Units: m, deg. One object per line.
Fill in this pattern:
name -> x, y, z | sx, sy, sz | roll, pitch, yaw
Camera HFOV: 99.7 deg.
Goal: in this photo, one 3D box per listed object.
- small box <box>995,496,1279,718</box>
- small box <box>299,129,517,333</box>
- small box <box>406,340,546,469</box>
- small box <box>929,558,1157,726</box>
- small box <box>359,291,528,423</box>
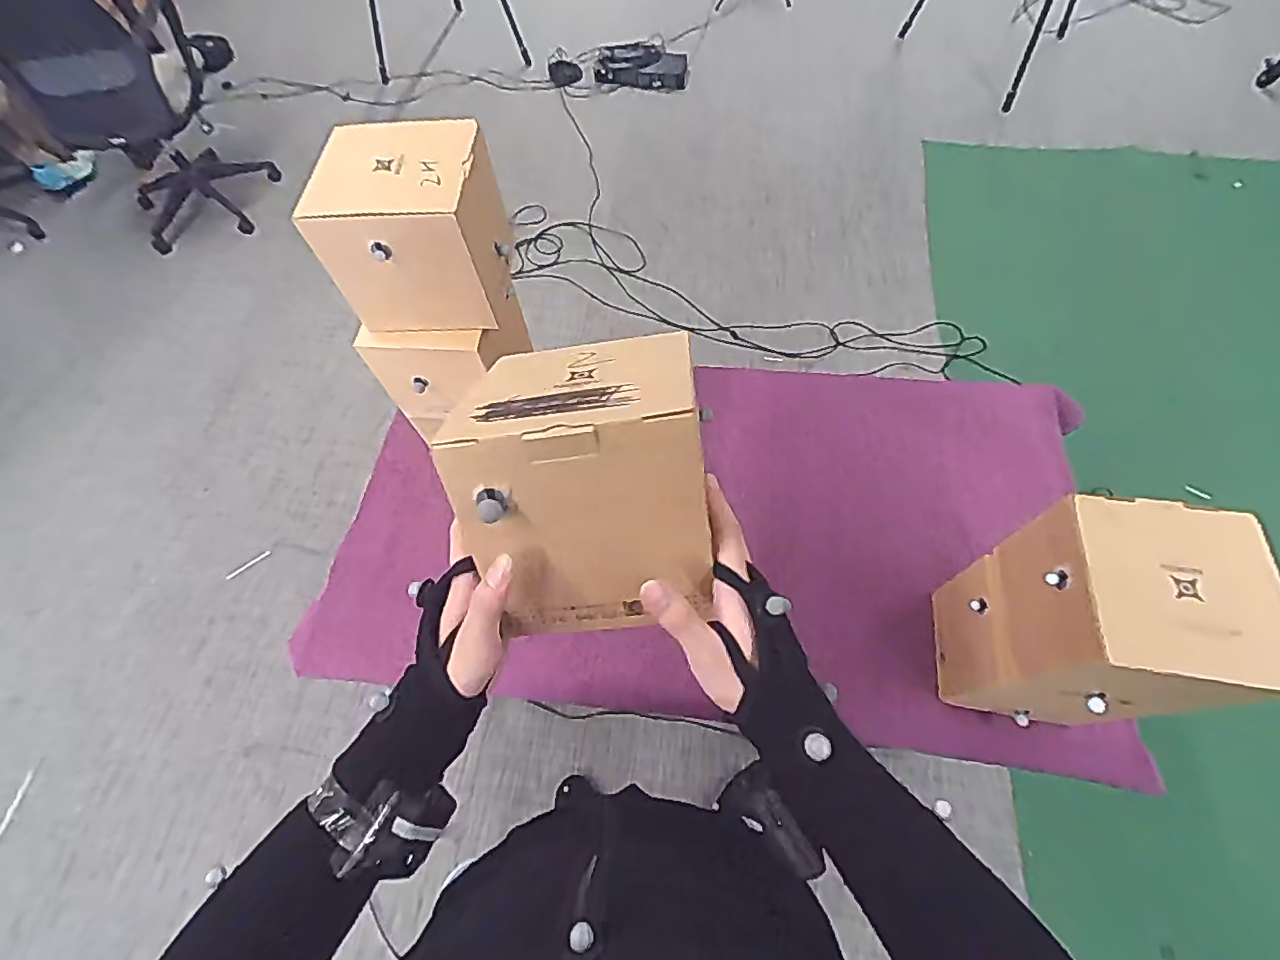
small box -> 0.511, 0.140, 0.580 | 0.168, 0.176, 0.179 | 8, 62, 9
small box -> -0.266, -0.298, 0.667 | 0.179, 0.176, 0.168 | 0, 62, 2
small box -> -0.271, -0.129, 0.946 | 0.179, 0.176, 0.168 | 2, 62, 4
small box -> 0.516, 0.222, 0.721 | 0.179, 0.176, 0.168 | 9, 61, 7
small box -> -0.273, -0.200, 0.800 | 0.168, 0.176, 0.179 | 3, 62, 4
